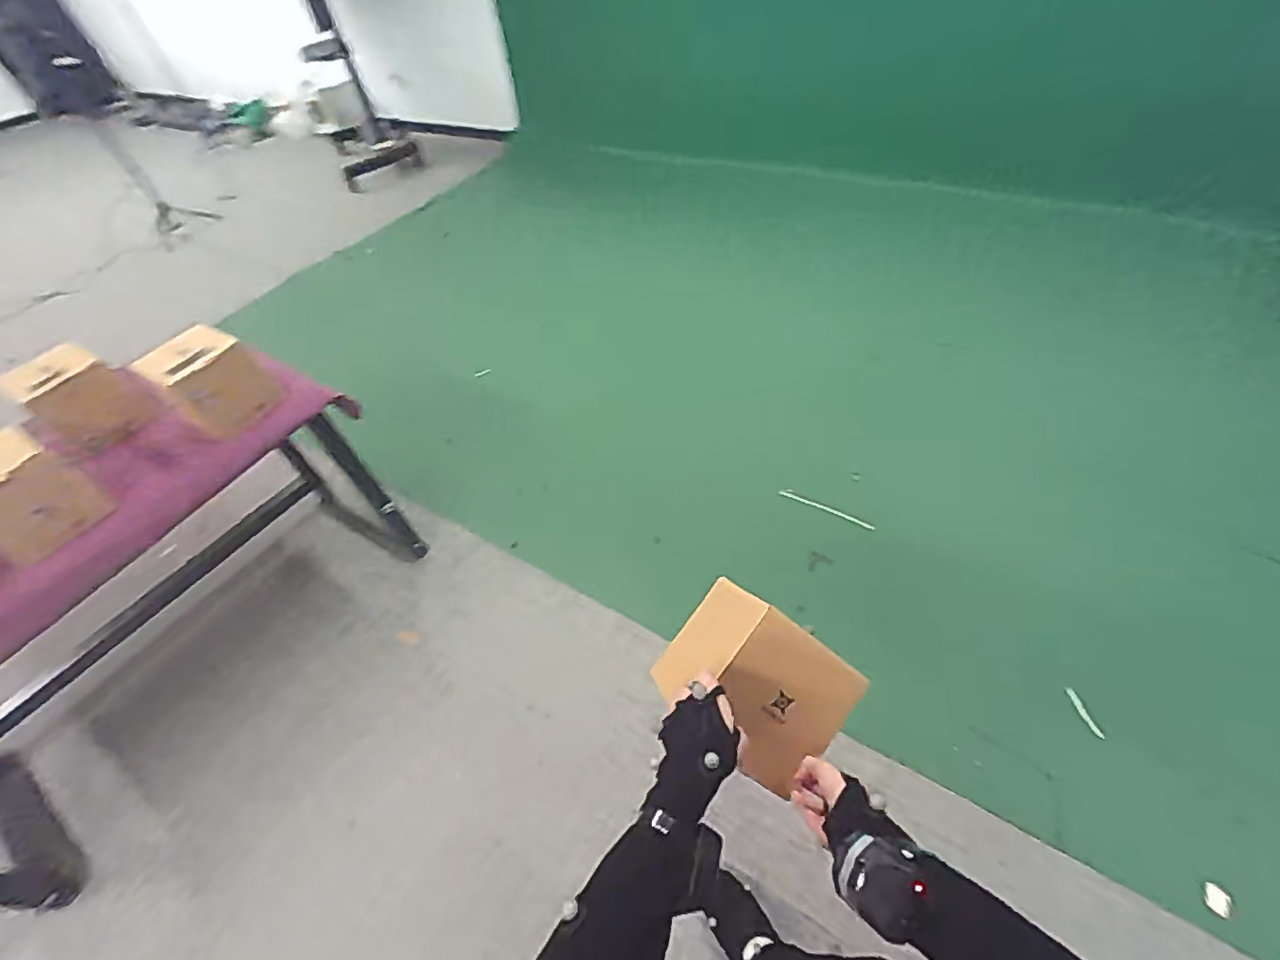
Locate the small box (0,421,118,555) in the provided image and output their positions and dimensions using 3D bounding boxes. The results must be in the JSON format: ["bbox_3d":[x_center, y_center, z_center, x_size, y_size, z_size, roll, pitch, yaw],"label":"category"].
[{"bbox_3d":[-1.186,0.020,1.050,0.179,0.176,0.168,24,57,26],"label":"small box"}]

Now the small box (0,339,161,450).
[{"bbox_3d":[-1.273,-0.193,1.244,0.179,0.176,0.168,22,56,25],"label":"small box"}]

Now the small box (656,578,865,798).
[{"bbox_3d":[0.141,0.251,0.700,0.168,0.176,0.179,38,86,-10],"label":"small box"}]
